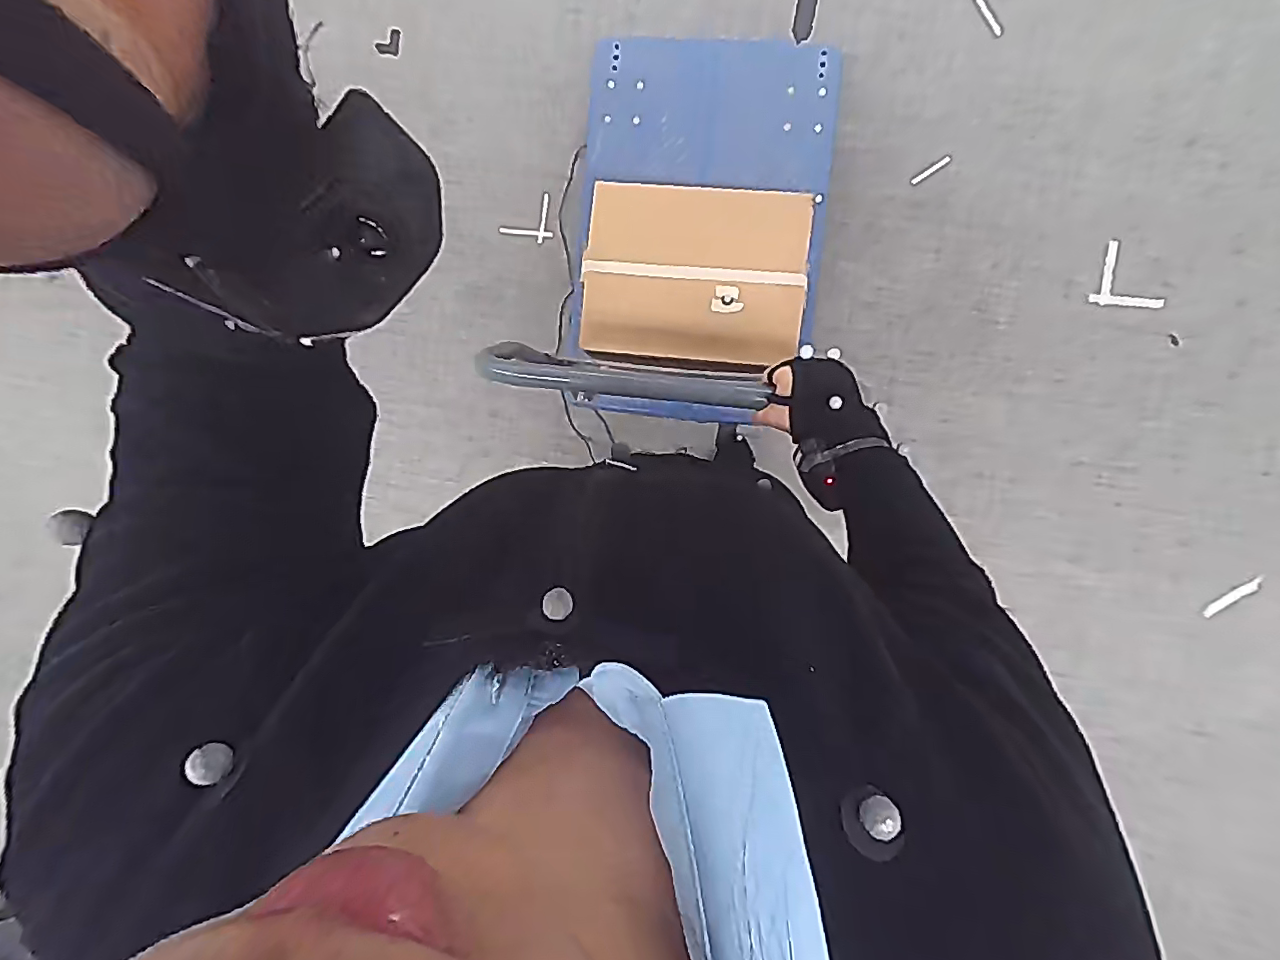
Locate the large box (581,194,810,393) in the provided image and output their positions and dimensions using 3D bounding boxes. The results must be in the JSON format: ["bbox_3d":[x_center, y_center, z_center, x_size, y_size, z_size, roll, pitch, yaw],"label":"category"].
[{"bbox_3d":[0.108,-0.367,1.139,0.408,0.320,0.320,6,94,5],"label":"large box"}]
